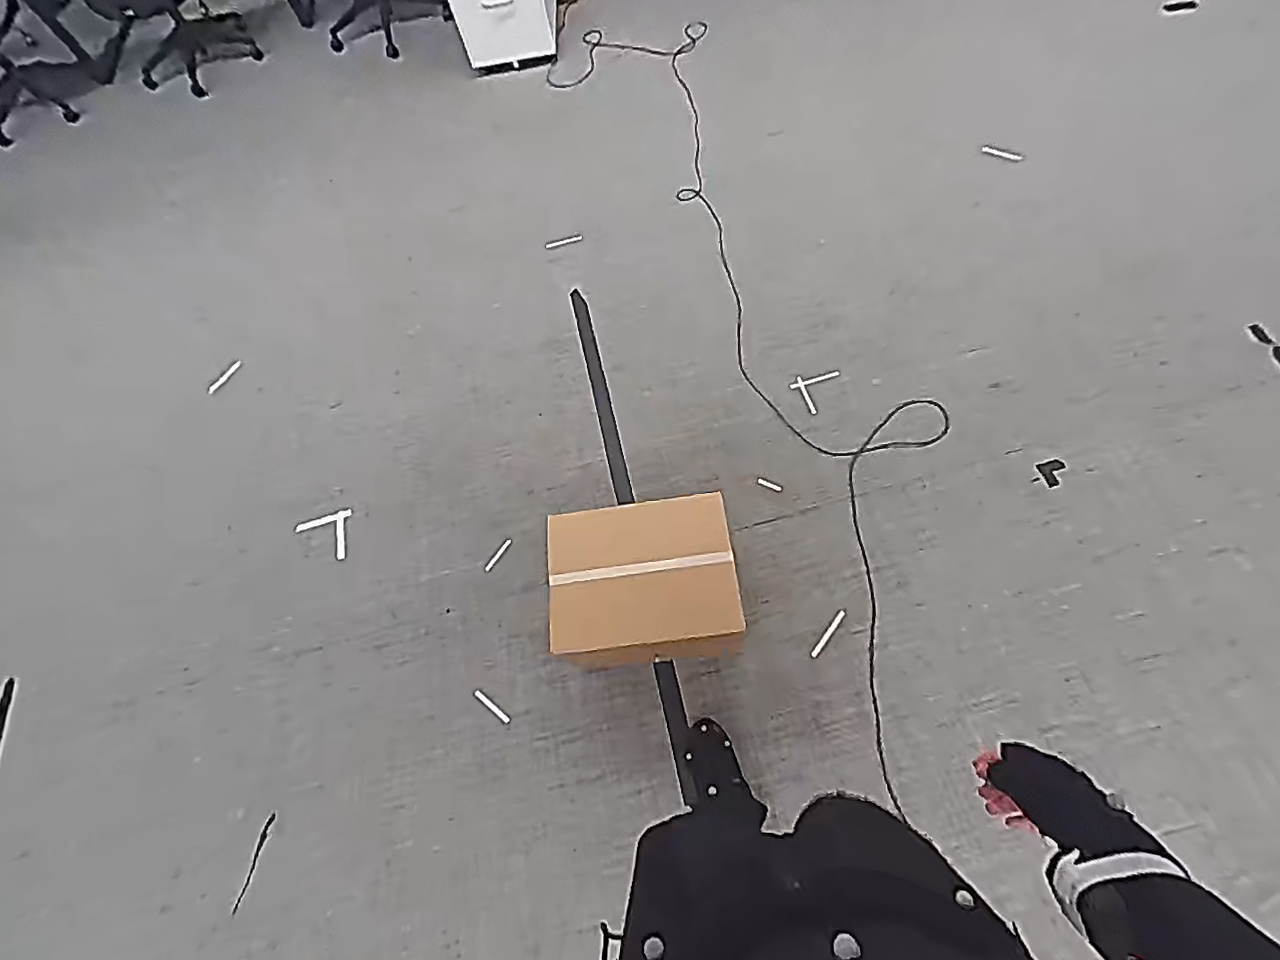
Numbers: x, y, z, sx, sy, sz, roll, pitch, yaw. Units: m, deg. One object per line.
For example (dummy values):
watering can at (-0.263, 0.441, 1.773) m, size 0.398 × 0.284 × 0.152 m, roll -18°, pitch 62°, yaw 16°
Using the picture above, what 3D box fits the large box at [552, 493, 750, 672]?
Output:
large box at (0.027, 0.260, 1.295) m, size 0.408 × 0.320 × 0.320 m, roll -9°, pitch 65°, yaw 4°
